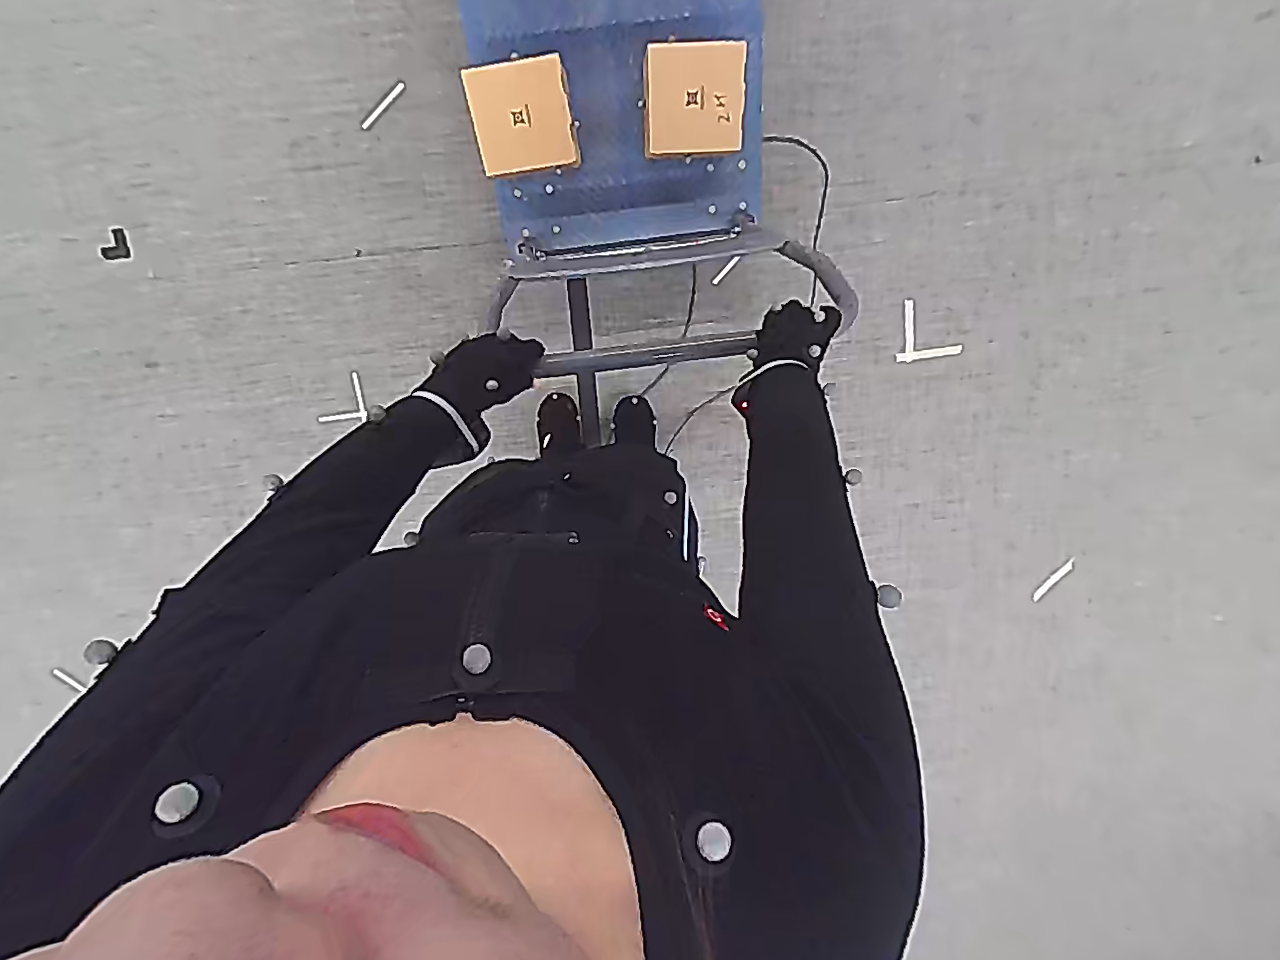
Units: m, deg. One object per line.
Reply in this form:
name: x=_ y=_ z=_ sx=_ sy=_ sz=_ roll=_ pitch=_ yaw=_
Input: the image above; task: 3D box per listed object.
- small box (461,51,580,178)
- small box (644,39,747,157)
small box: x=-0.218 y=-0.688 z=1.037 sx=0.179 sy=0.176 sz=0.168 roll=-10 pitch=117 yaw=0
small box: x=0.097 y=-0.722 z=1.038 sx=0.179 sy=0.176 sz=0.168 roll=-3 pitch=118 yaw=-2
